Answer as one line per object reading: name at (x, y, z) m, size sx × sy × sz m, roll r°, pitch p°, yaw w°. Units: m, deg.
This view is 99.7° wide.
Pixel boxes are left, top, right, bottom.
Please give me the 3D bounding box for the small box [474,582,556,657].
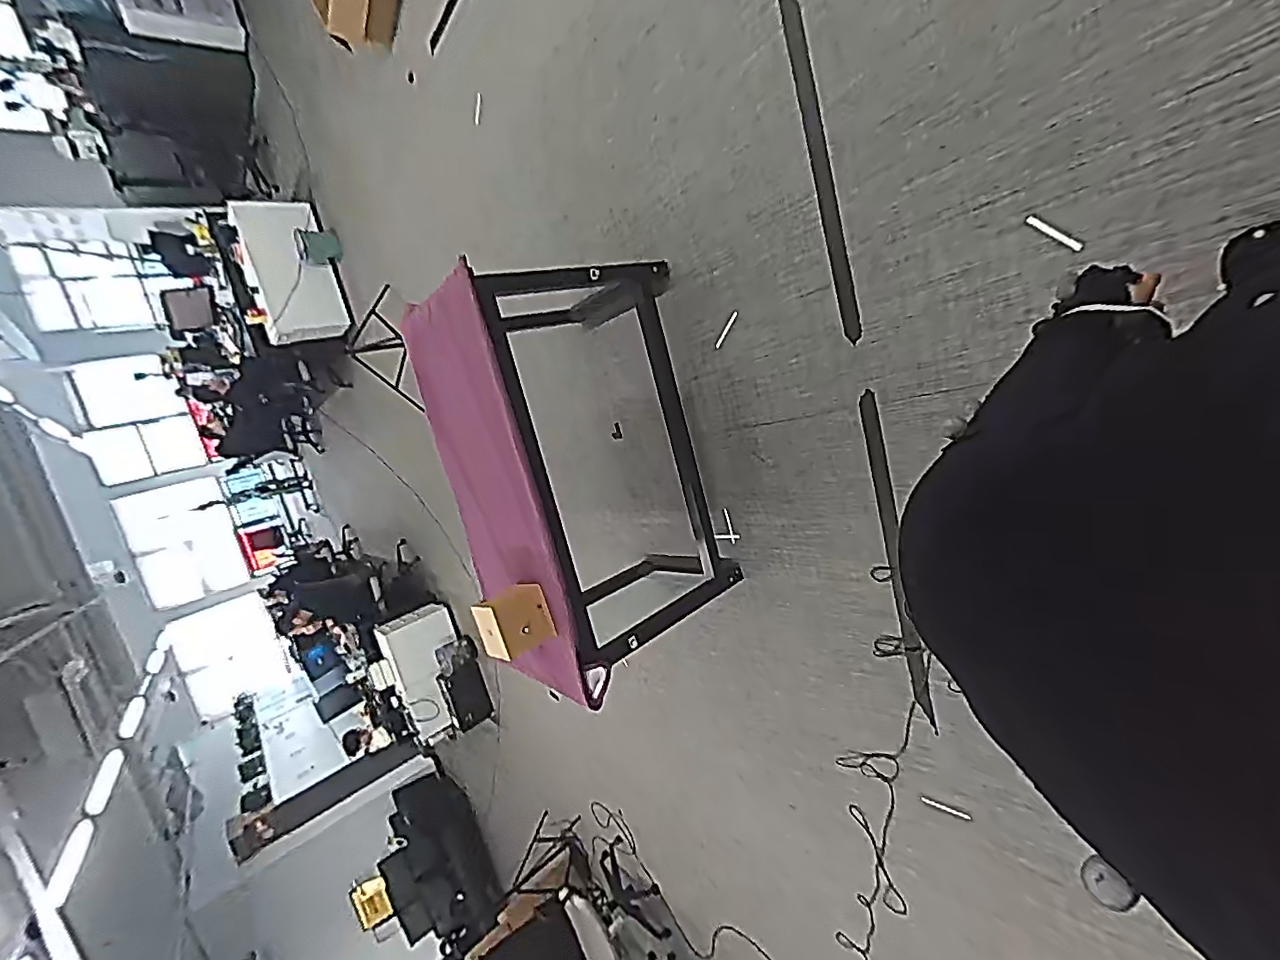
small box at (-0.374, 0.417, 1.647) m, size 0.179 × 0.176 × 0.168 m, roll -16°, pitch 94°, yaw 53°
